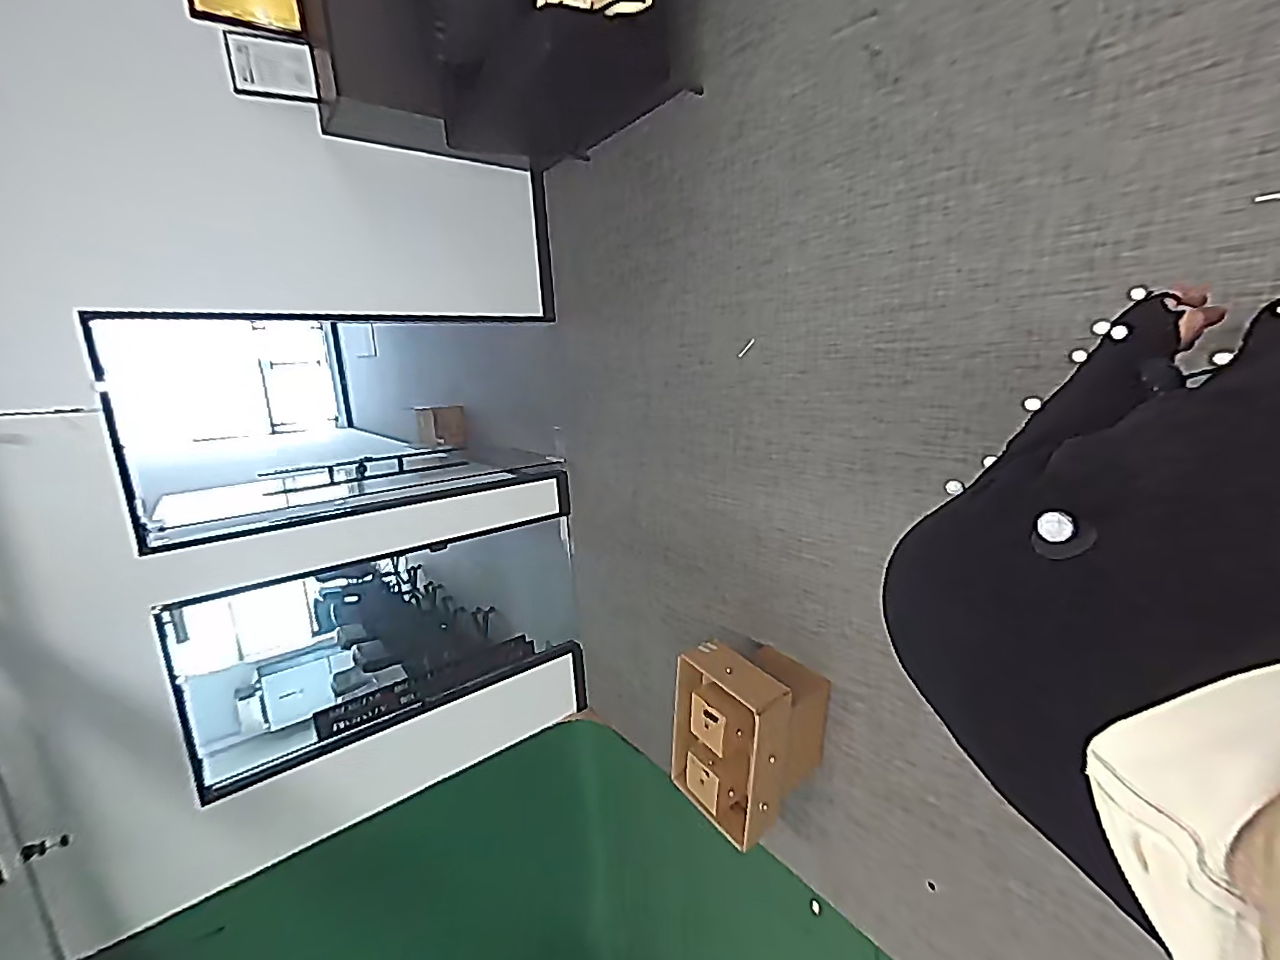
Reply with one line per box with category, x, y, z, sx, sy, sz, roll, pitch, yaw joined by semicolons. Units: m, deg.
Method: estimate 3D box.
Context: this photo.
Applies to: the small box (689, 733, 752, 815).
small box;0.305;1.104;2.044;0.168;0.176;0.179;23;118;50
